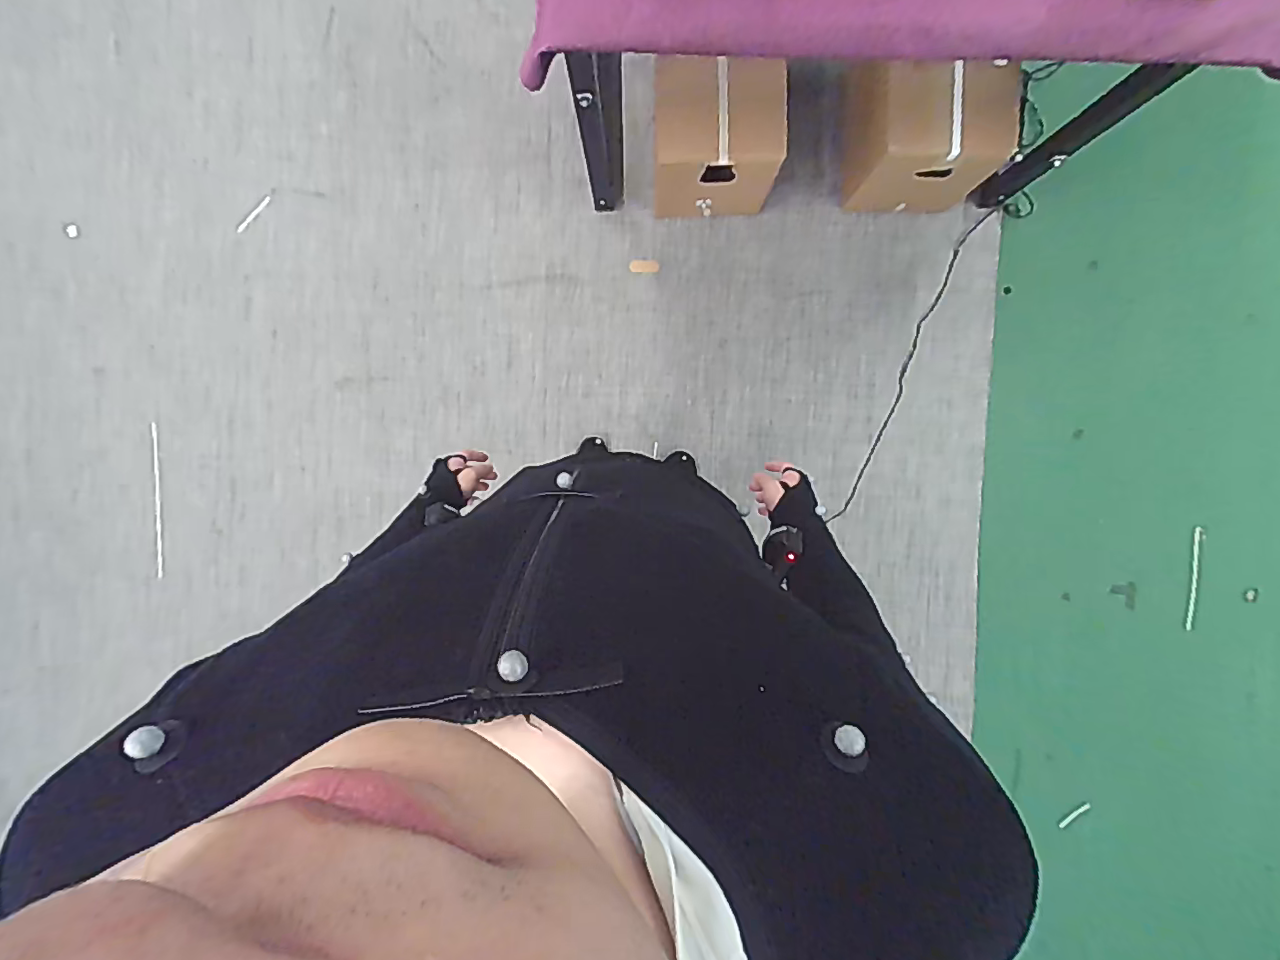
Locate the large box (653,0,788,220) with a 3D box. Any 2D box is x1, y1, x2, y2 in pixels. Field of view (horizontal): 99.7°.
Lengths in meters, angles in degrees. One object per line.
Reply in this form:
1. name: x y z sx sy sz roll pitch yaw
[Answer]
1. large box: 0.196 -0.964 1.437 0.320 0.320 0.408 -1 92 0
